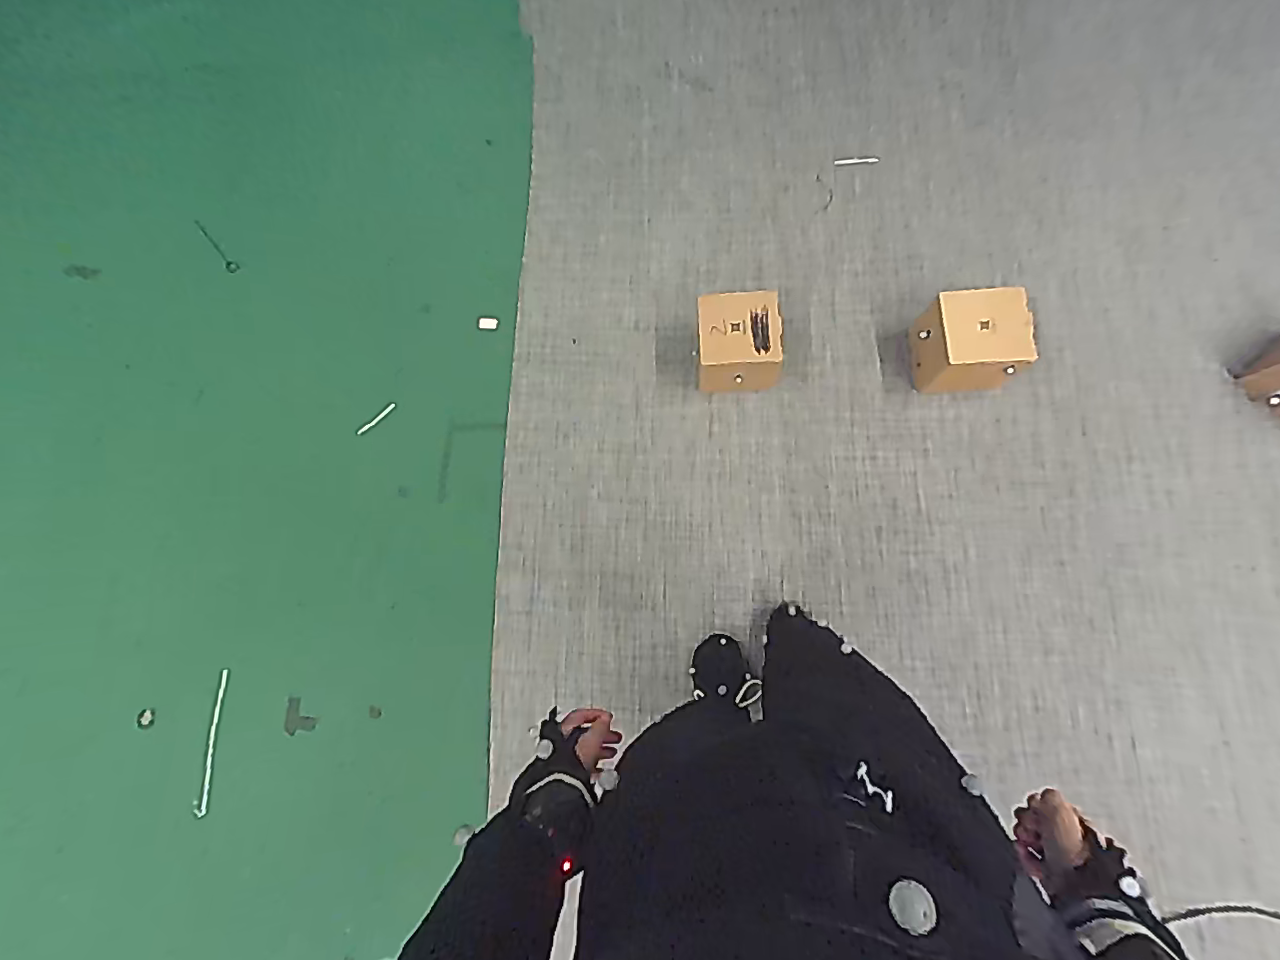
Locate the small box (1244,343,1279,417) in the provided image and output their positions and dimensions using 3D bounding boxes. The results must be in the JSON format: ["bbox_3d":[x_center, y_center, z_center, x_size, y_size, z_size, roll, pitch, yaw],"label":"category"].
[{"bbox_3d":[1.430,-0.228,1.106,0.179,0.176,0.168,-43,77,-3],"label":"small box"}]

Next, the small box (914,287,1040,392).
[{"bbox_3d":[0.721,-0.298,1.183,0.179,0.176,0.168,-3,78,4],"label":"small box"}]
